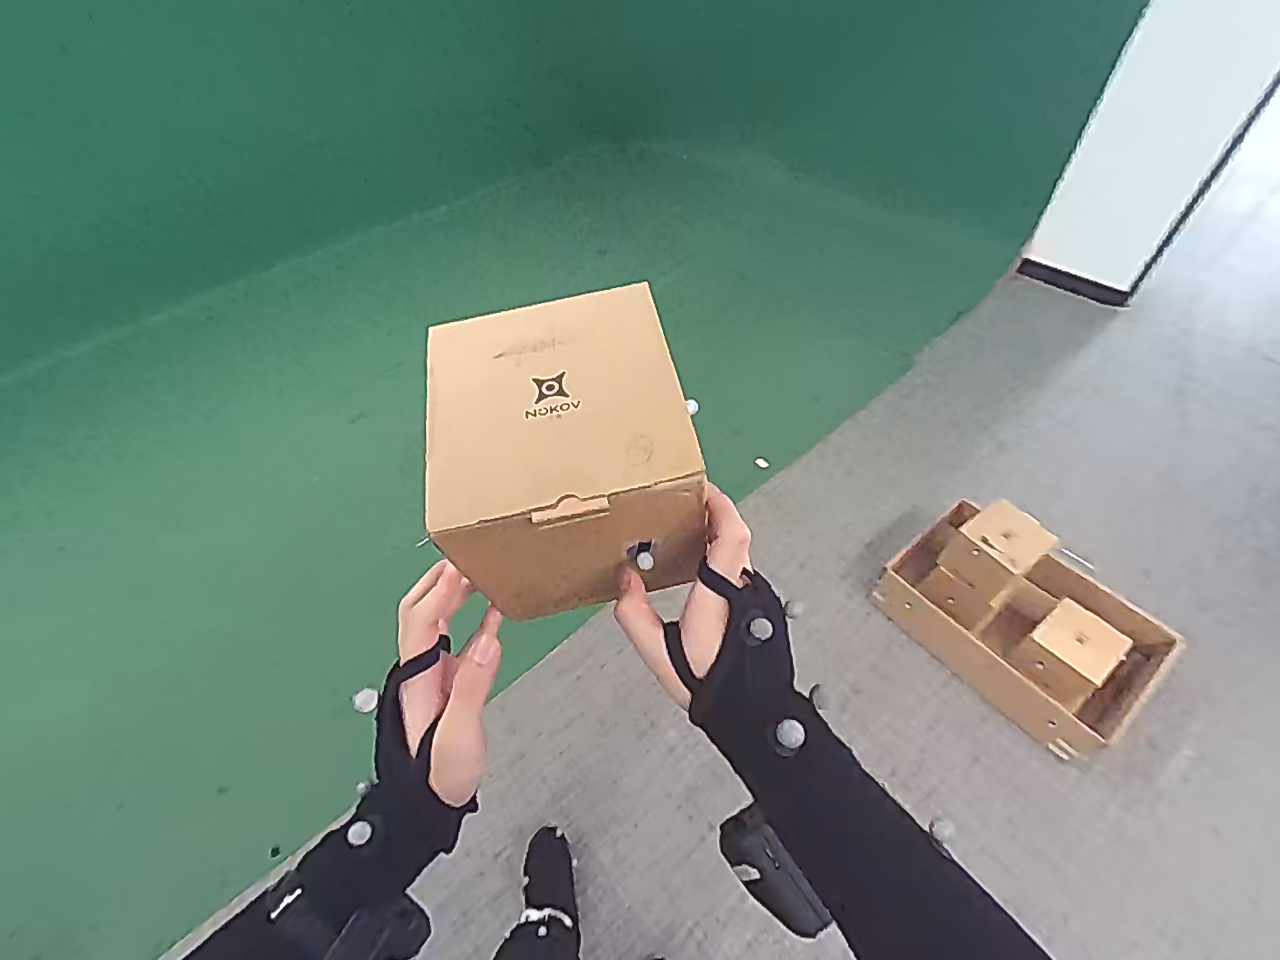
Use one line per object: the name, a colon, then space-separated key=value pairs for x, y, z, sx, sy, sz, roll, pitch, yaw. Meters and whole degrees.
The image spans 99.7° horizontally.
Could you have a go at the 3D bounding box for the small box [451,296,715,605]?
small box: x=-0.040 y=-0.011 z=0.434 sx=0.168 sy=0.176 sz=0.179 roll=-11 pitch=58 yaw=-2

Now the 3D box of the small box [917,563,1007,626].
small box: x=0.943 y=0.295 z=1.582 sx=0.179 sy=0.176 sz=0.168 roll=-35 pitch=58 yaw=-21

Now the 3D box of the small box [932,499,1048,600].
small box: x=0.930 y=0.189 z=1.457 sx=0.179 sy=0.176 sz=0.168 roll=-29 pitch=55 yaw=-18

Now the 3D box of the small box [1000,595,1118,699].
small box: x=1.107 y=0.450 z=1.446 sx=0.179 sy=0.176 sz=0.168 roll=-35 pitch=56 yaw=-20
